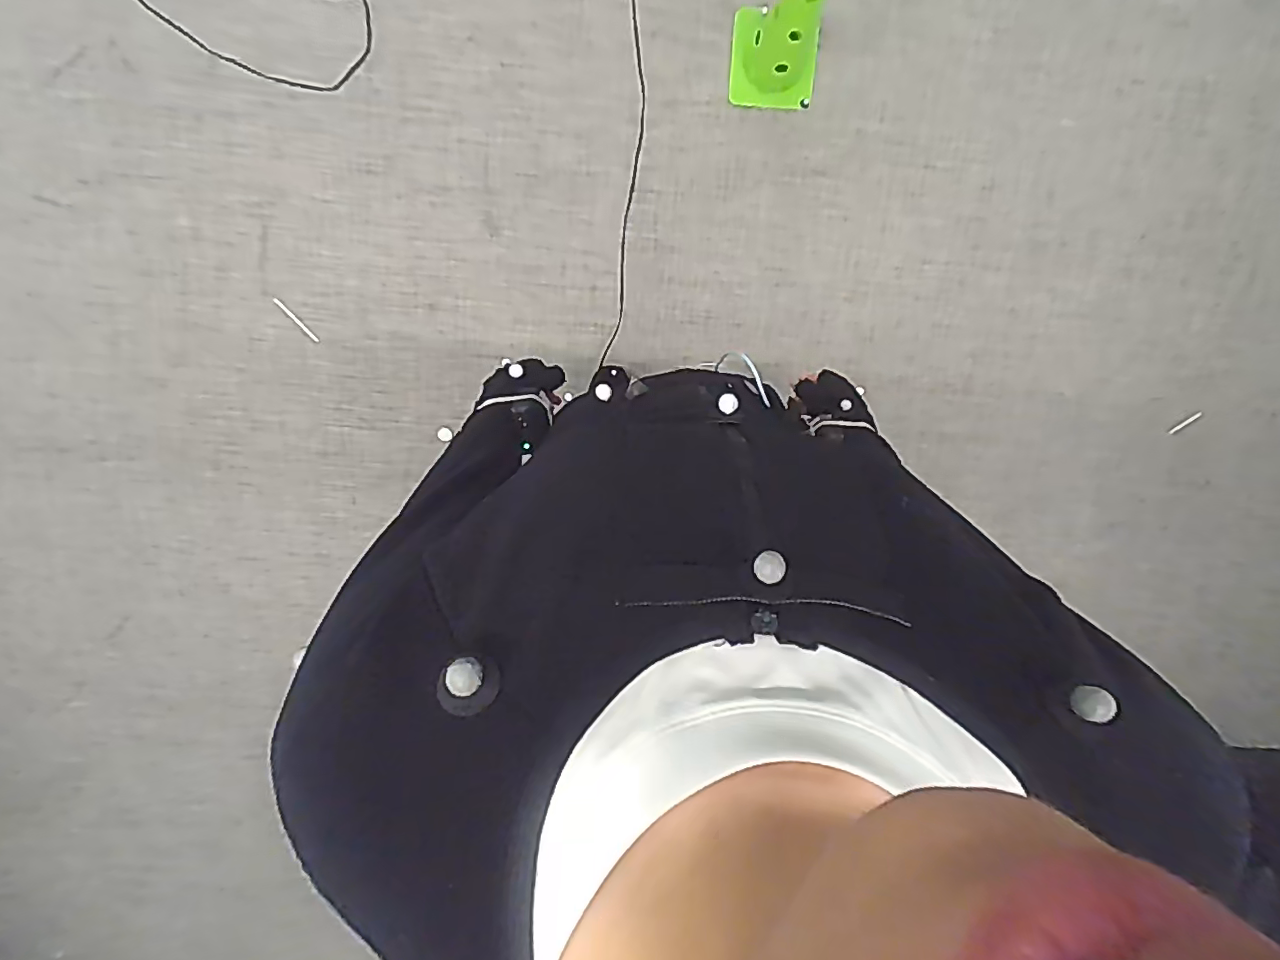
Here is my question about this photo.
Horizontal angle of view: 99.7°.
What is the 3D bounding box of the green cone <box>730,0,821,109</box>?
[{"bbox_3d":[0.318,-0.952,1.101,0.202,0.368,0.200,3,102,-1],"label":"green cone"}]
